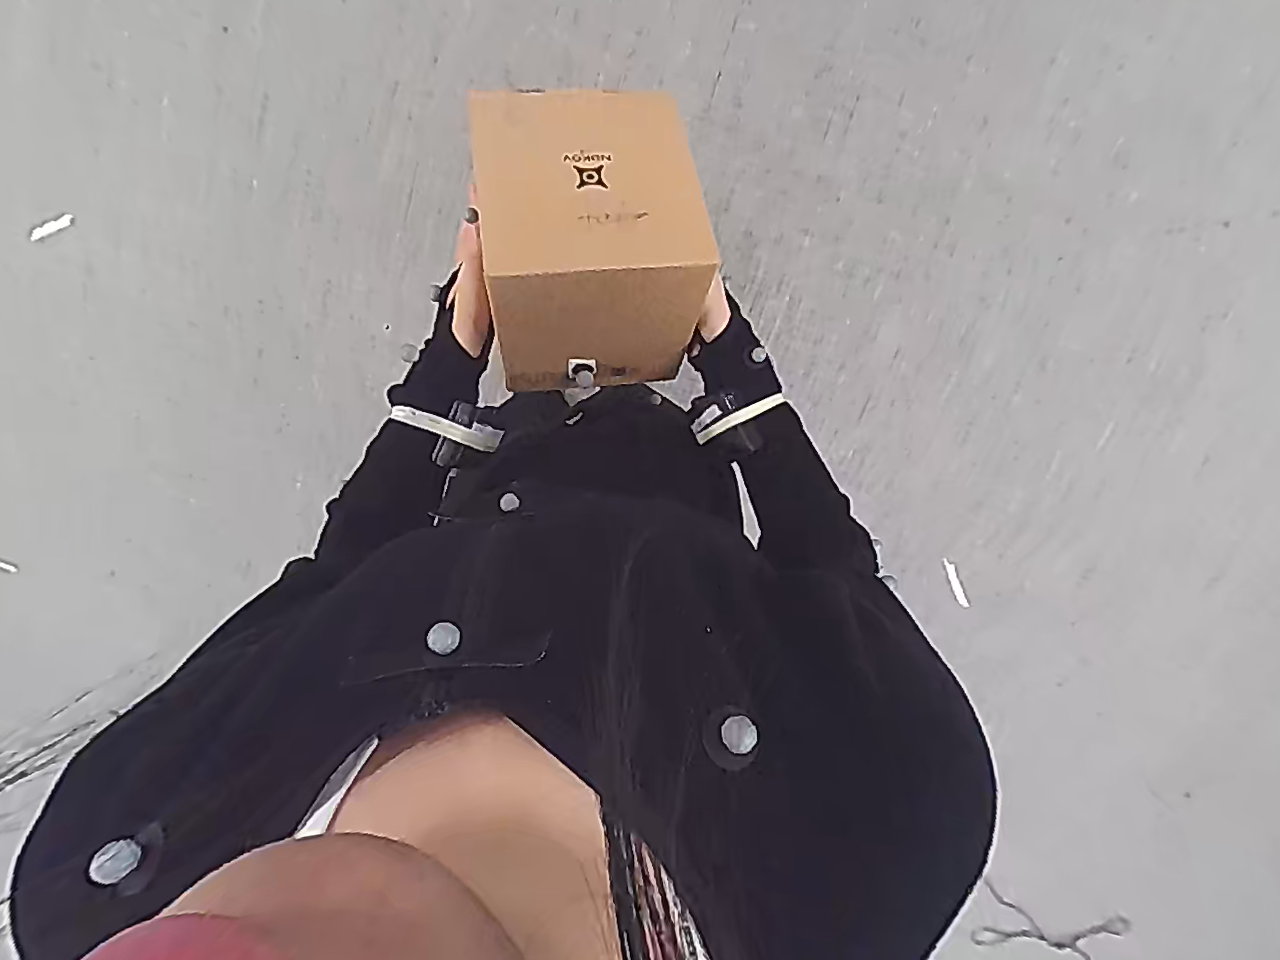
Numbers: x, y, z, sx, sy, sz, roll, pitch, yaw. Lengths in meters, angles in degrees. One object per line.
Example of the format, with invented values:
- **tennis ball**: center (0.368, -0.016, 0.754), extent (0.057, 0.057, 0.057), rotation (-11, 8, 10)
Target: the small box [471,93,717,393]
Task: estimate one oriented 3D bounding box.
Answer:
- **small box**: center (-0.048, -0.198, 0.477), extent (0.168, 0.176, 0.179), rotation (-8, 72, -10)
